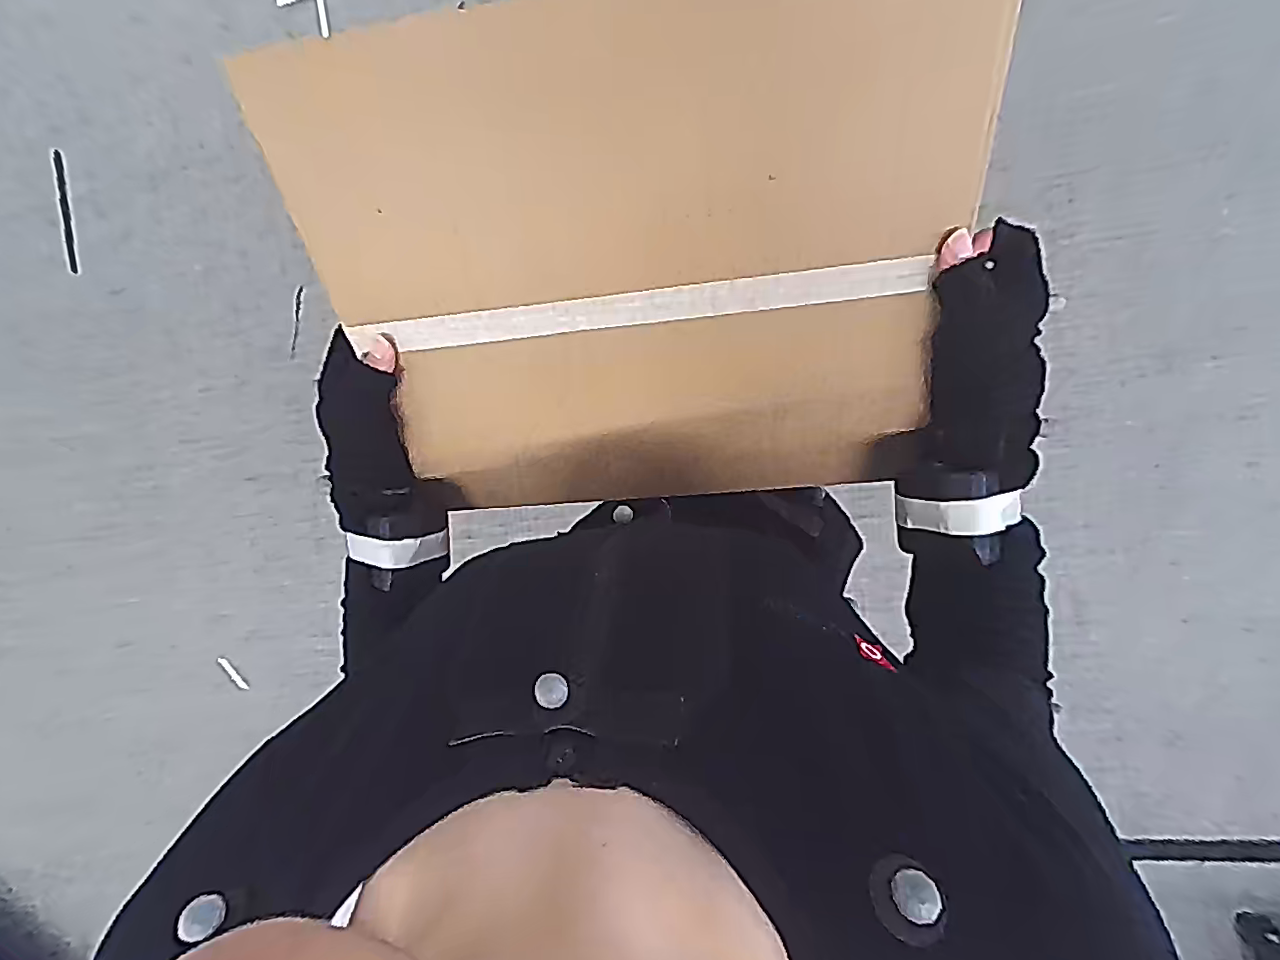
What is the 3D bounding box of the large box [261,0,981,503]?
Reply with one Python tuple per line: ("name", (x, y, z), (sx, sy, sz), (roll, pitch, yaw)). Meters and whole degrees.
("large box", (0.006, -0.206, 0.489), (0.408, 0.320, 0.320), (-5, 125, 8))
